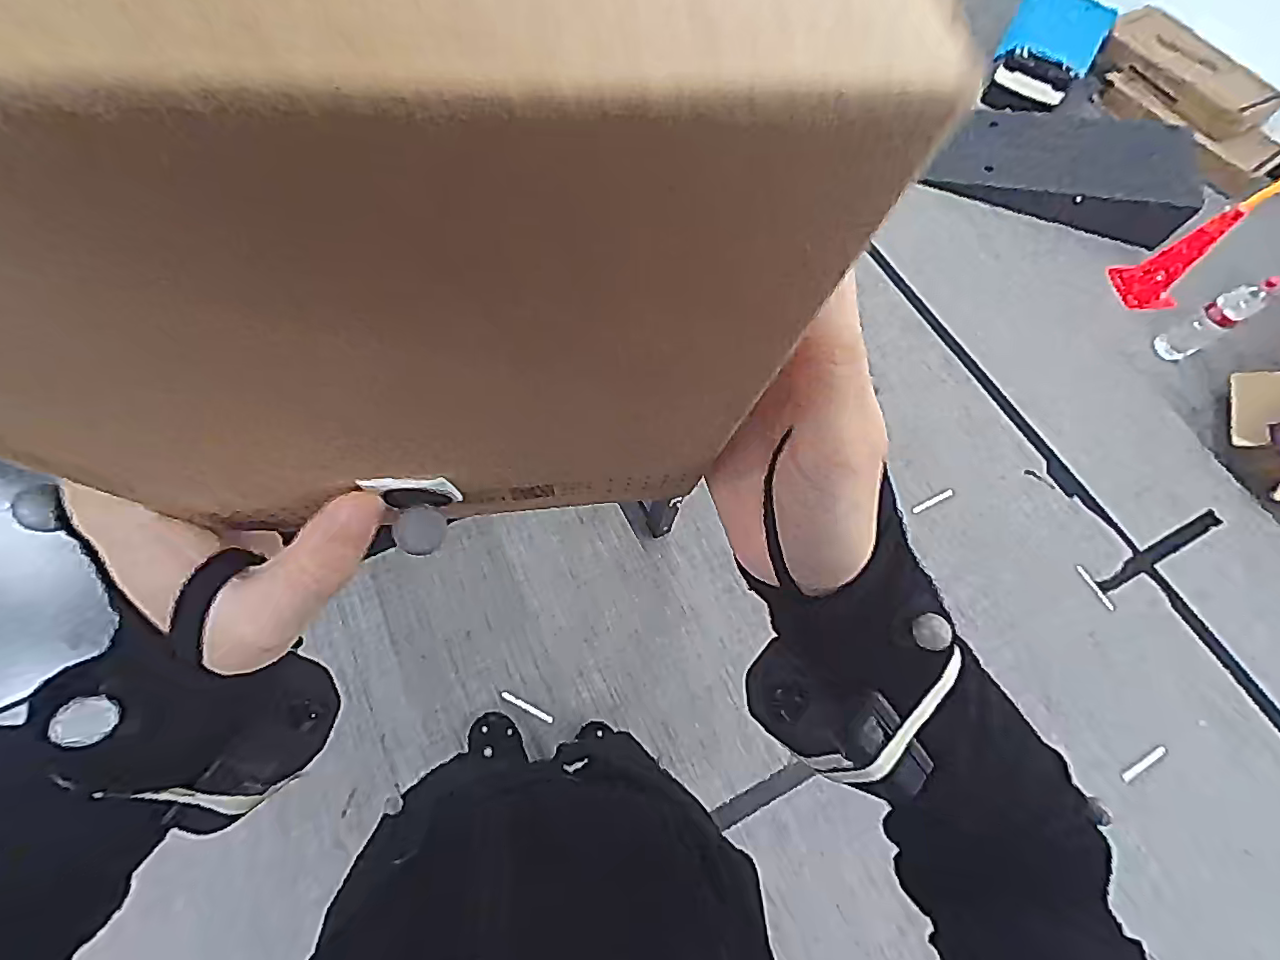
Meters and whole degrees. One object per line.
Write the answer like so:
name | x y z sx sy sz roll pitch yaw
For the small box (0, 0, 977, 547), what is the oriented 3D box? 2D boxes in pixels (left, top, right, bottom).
small box | -0.056 -0.088 0.158 0.168 0.176 0.179 -6 74 -8
